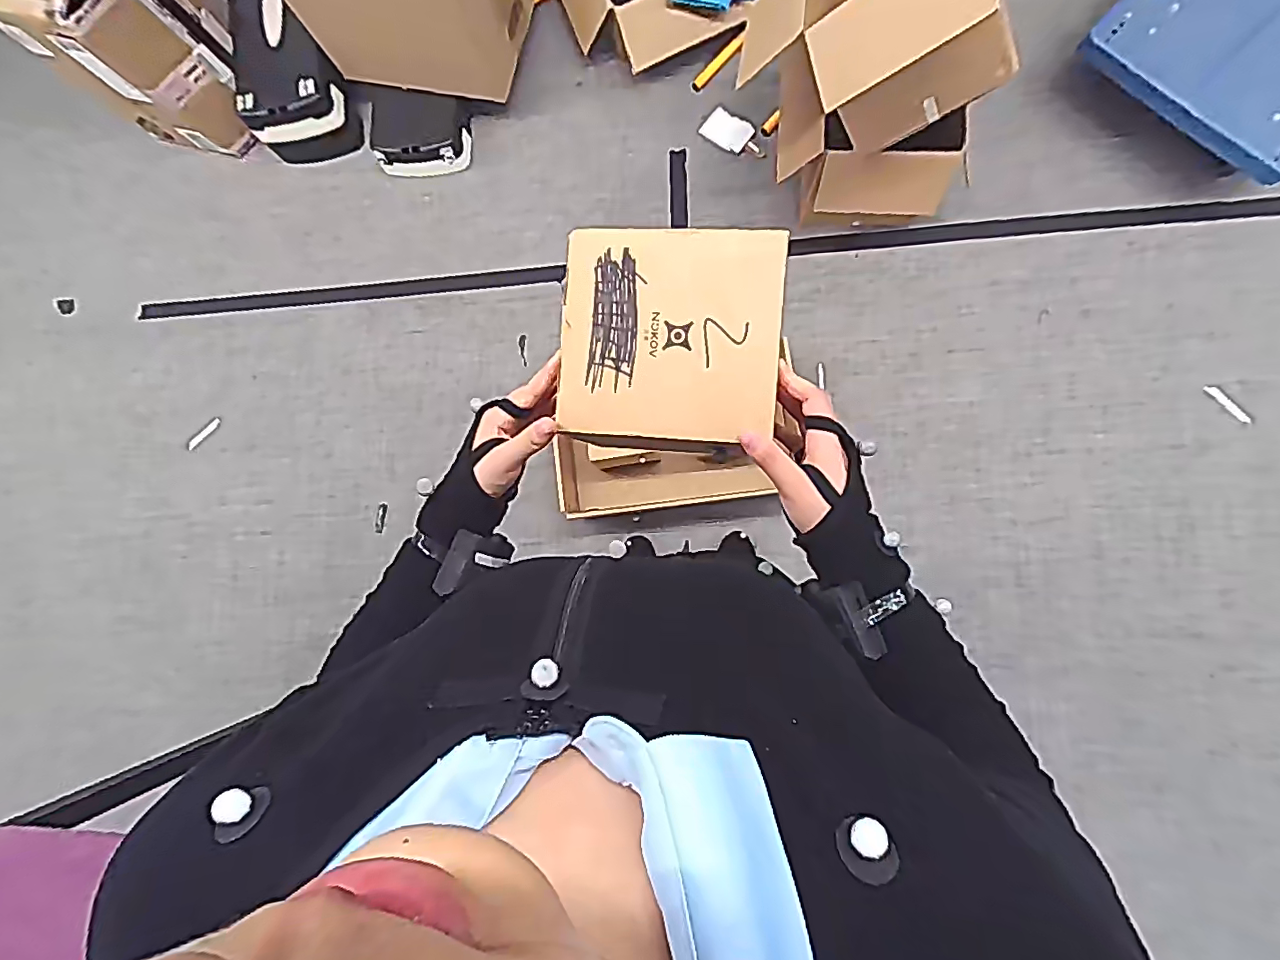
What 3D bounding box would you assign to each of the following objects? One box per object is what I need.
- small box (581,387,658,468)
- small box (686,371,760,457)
[{"bbox_3d":[-0.048,-0.132,1.414,0.179,0.176,0.168,-9,83,4],"label":"small box"},{"bbox_3d":[0.209,-0.164,1.393,0.168,0.176,0.179,-7,84,6],"label":"small box"}]
